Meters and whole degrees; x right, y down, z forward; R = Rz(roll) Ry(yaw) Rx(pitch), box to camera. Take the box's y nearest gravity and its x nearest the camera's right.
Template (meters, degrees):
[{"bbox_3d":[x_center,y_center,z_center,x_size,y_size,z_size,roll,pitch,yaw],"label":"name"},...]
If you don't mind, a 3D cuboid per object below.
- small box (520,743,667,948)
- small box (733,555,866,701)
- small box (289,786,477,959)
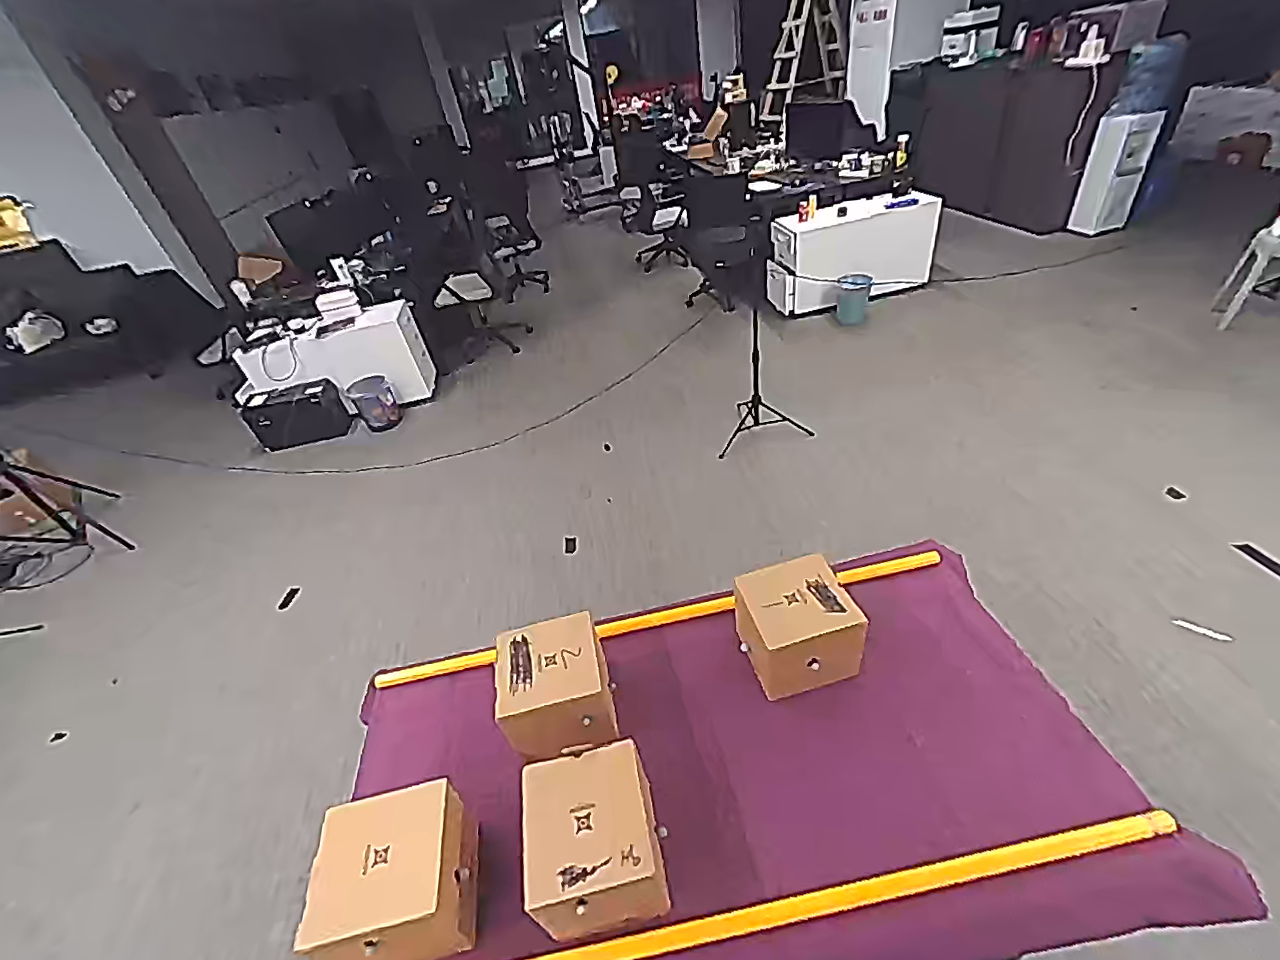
[{"bbox_3d":[-0.065,0.513,0.763,0.168,0.176,0.179,-14,37,-2],"label":"small box"},{"bbox_3d":[0.280,0.269,0.982,0.179,0.176,0.168,-16,39,-4],"label":"small box"},{"bbox_3d":[-0.339,0.569,0.760,0.179,0.176,0.168,-14,37,-4],"label":"small box"}]
